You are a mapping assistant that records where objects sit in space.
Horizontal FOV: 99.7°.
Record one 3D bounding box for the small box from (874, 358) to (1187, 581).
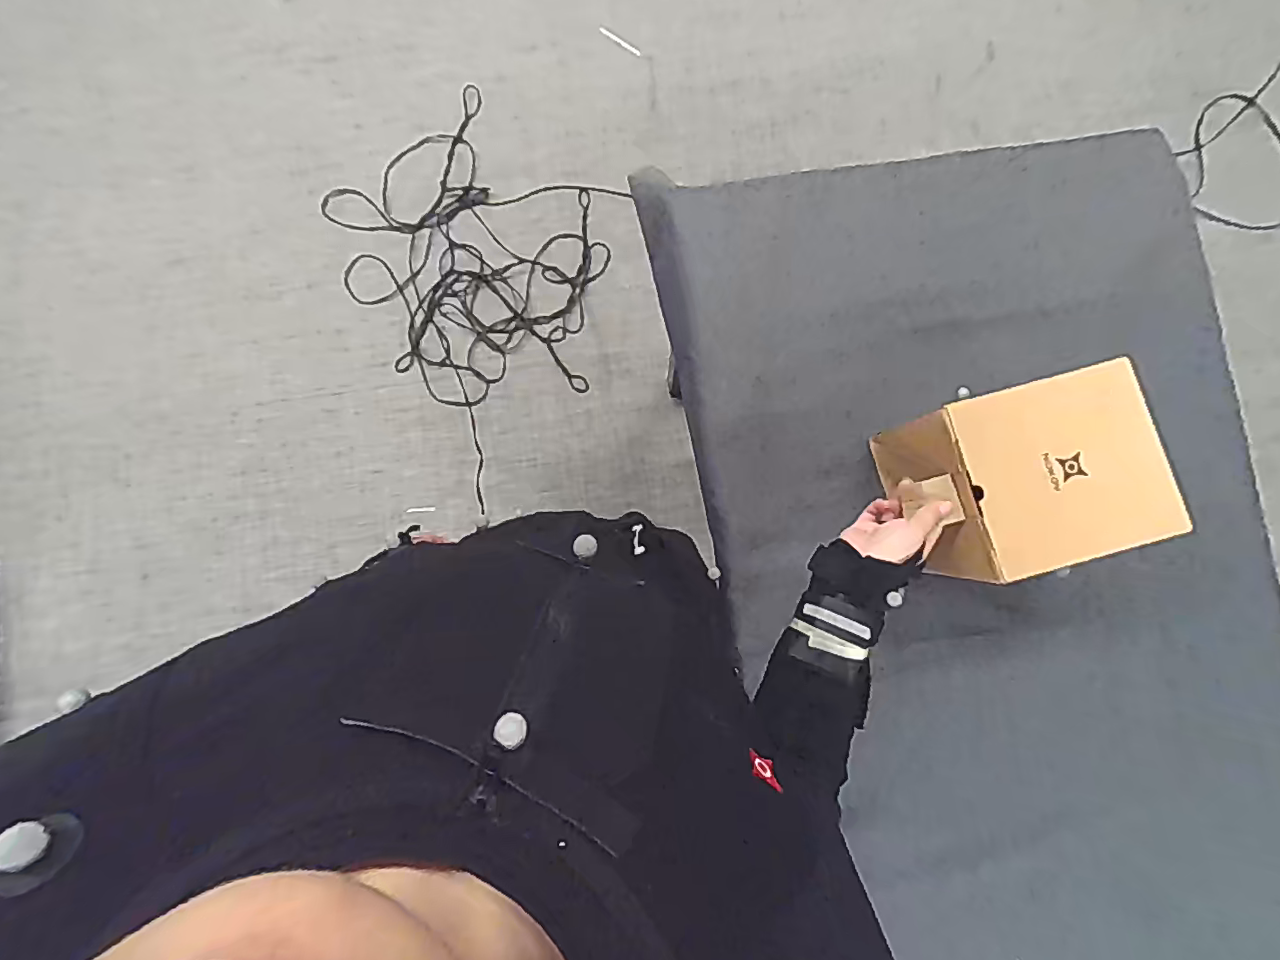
[{"bbox_3d":[0.380,-0.006,0.561,0.179,0.176,0.168,-17,86,0],"label":"small box"}]
